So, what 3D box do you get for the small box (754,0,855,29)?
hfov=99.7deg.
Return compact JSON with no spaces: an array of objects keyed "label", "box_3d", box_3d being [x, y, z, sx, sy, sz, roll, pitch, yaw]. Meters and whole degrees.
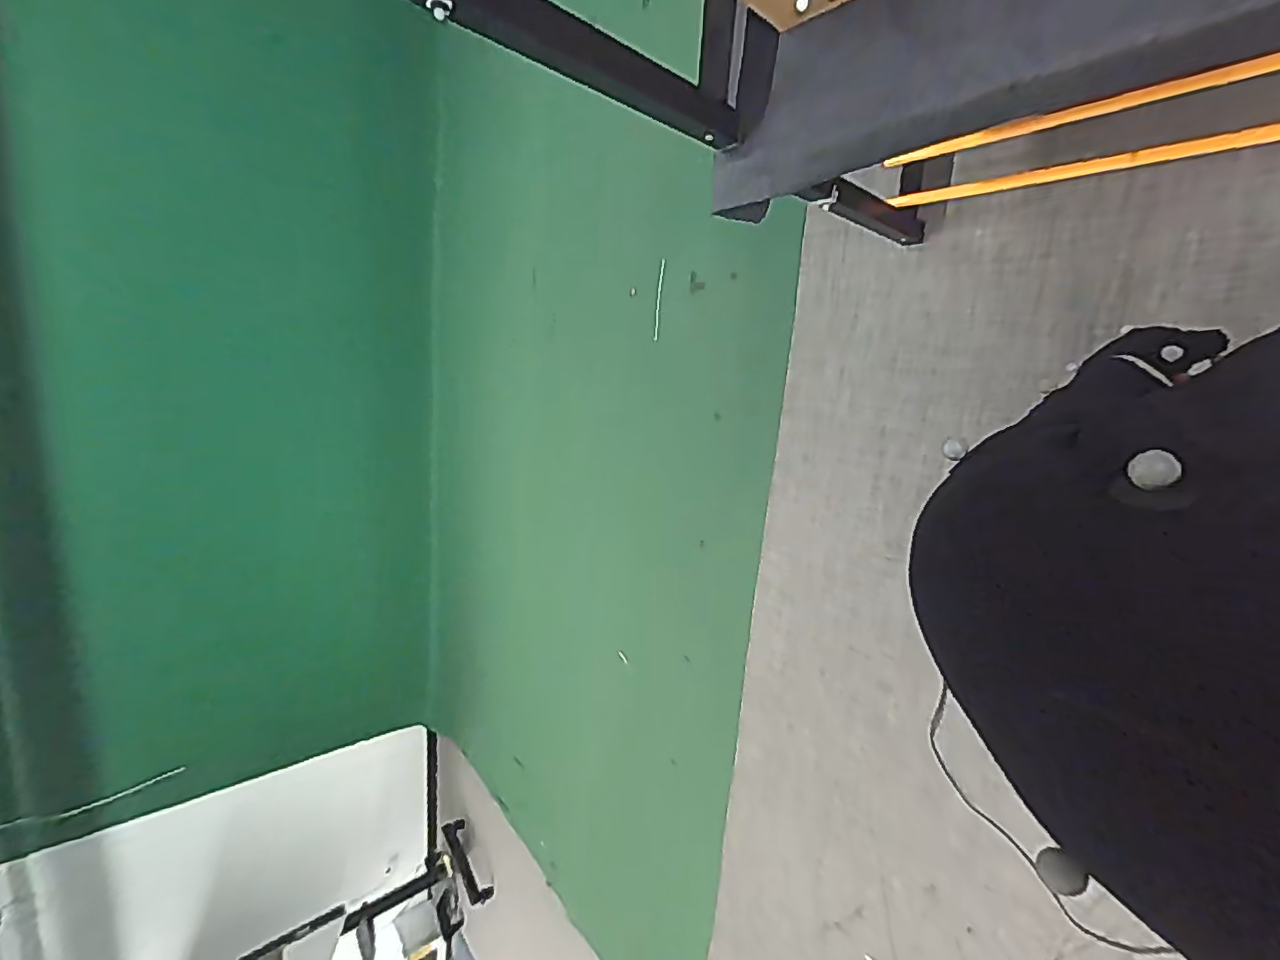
[{"label":"small box","box_3d":[0.232,-0.793,0.755,0.168,0.176,0.179,18,108,48]}]
